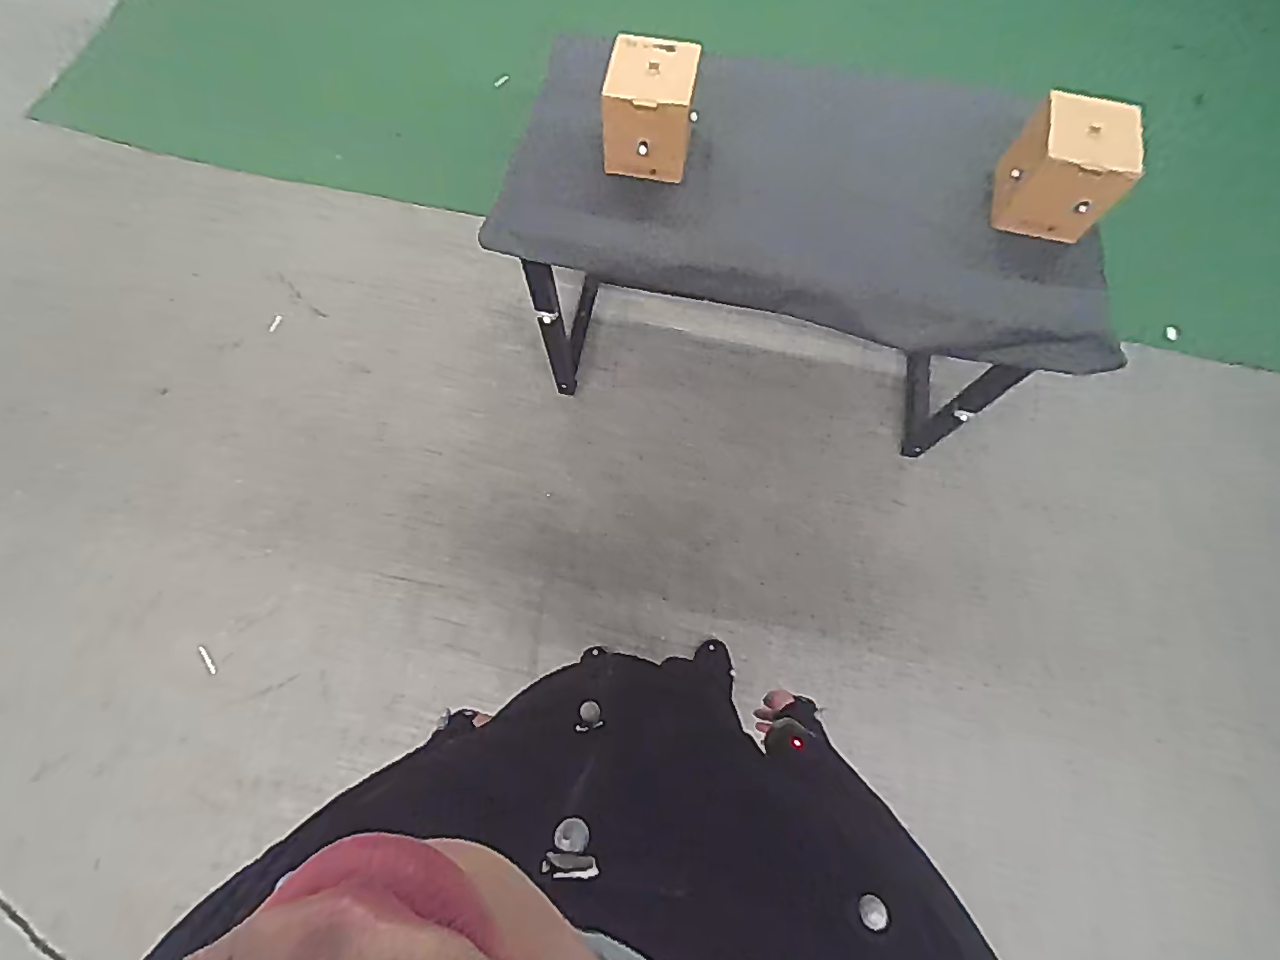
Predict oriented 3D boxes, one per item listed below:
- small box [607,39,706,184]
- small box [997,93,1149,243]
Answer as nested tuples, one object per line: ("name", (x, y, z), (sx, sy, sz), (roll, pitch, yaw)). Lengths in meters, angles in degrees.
("small box", (0.033, -0.739, 1.098), (0.168, 0.176, 0.179), (10, 71, 3))
("small box", (0.827, -0.596, 1.048), (0.168, 0.176, 0.179), (14, 70, 4))
